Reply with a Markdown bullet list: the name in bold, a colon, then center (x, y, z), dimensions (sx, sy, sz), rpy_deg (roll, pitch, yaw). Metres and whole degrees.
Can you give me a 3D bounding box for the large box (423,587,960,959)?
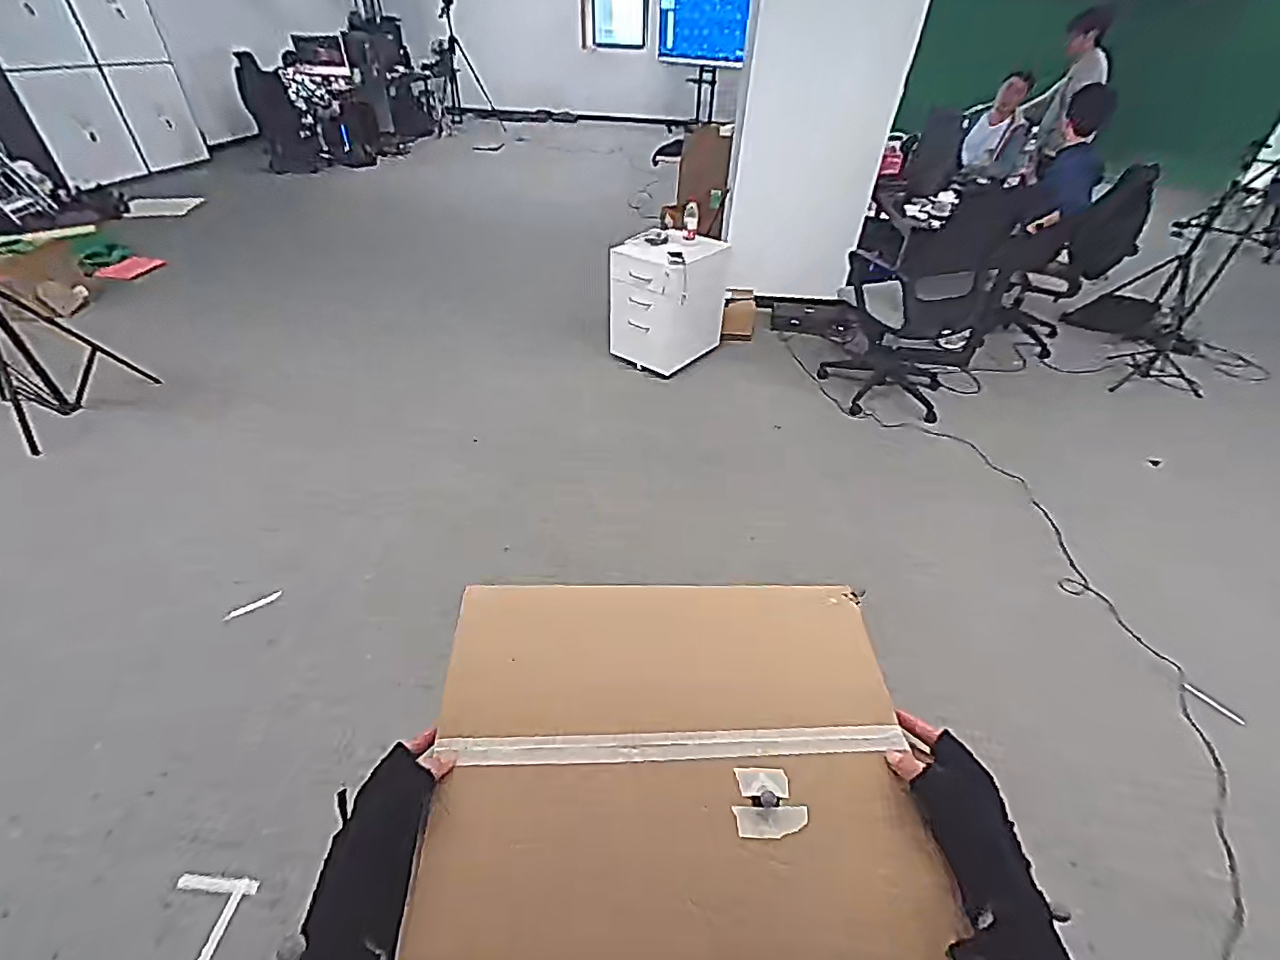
- **large box**: center (0.023, 0.331, 0.592), dimensions (0.408, 0.320, 0.320), rpy_deg (1, 49, -6)
